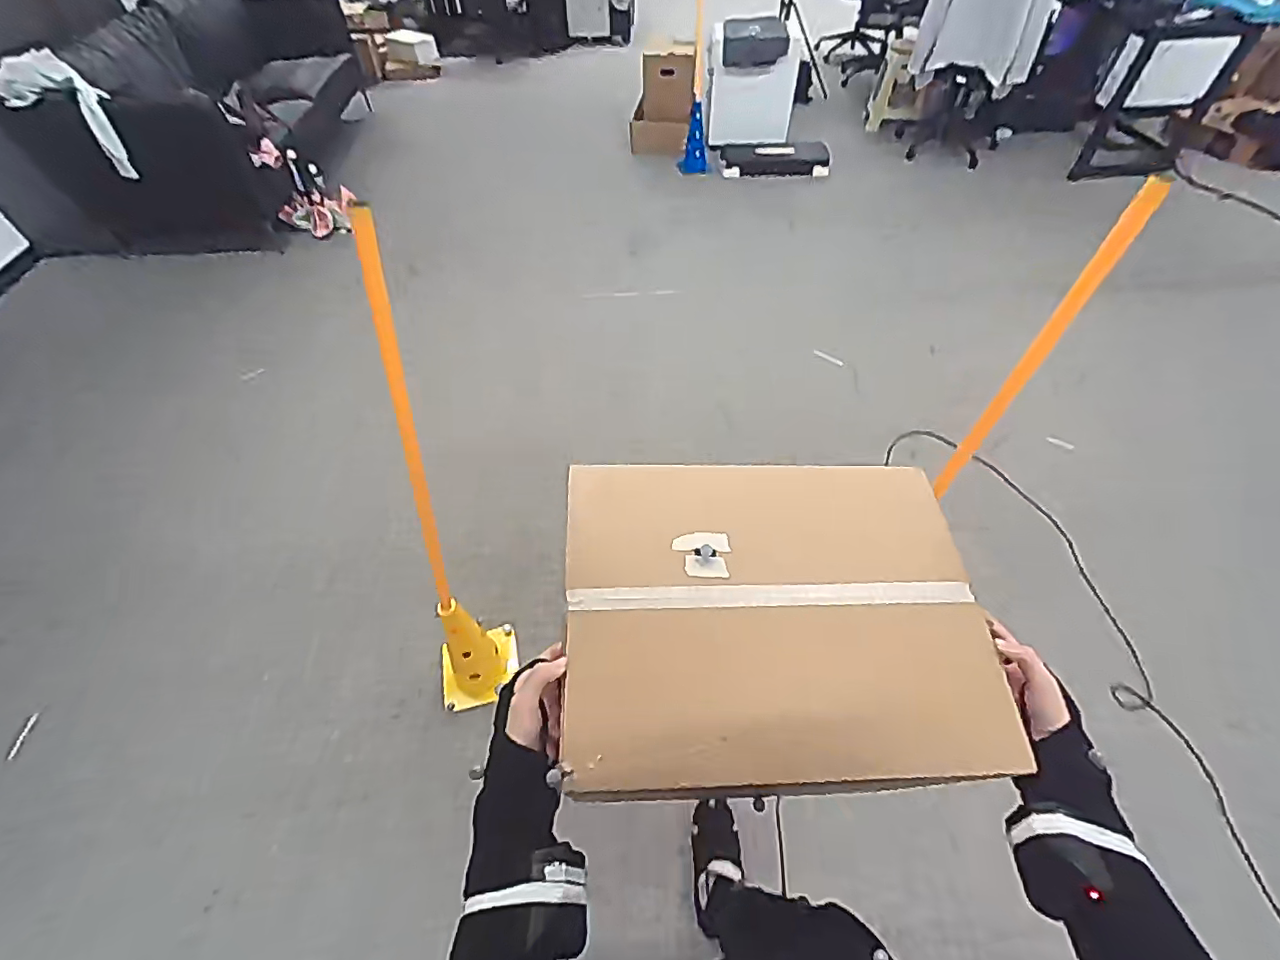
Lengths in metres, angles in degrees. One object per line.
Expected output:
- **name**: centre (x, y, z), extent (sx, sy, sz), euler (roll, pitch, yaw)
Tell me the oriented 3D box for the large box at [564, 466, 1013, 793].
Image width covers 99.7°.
- **large box**: centre (0.120, 0.195, 0.664), extent (0.408, 0.320, 0.320), euler (-1, 58, -4)
